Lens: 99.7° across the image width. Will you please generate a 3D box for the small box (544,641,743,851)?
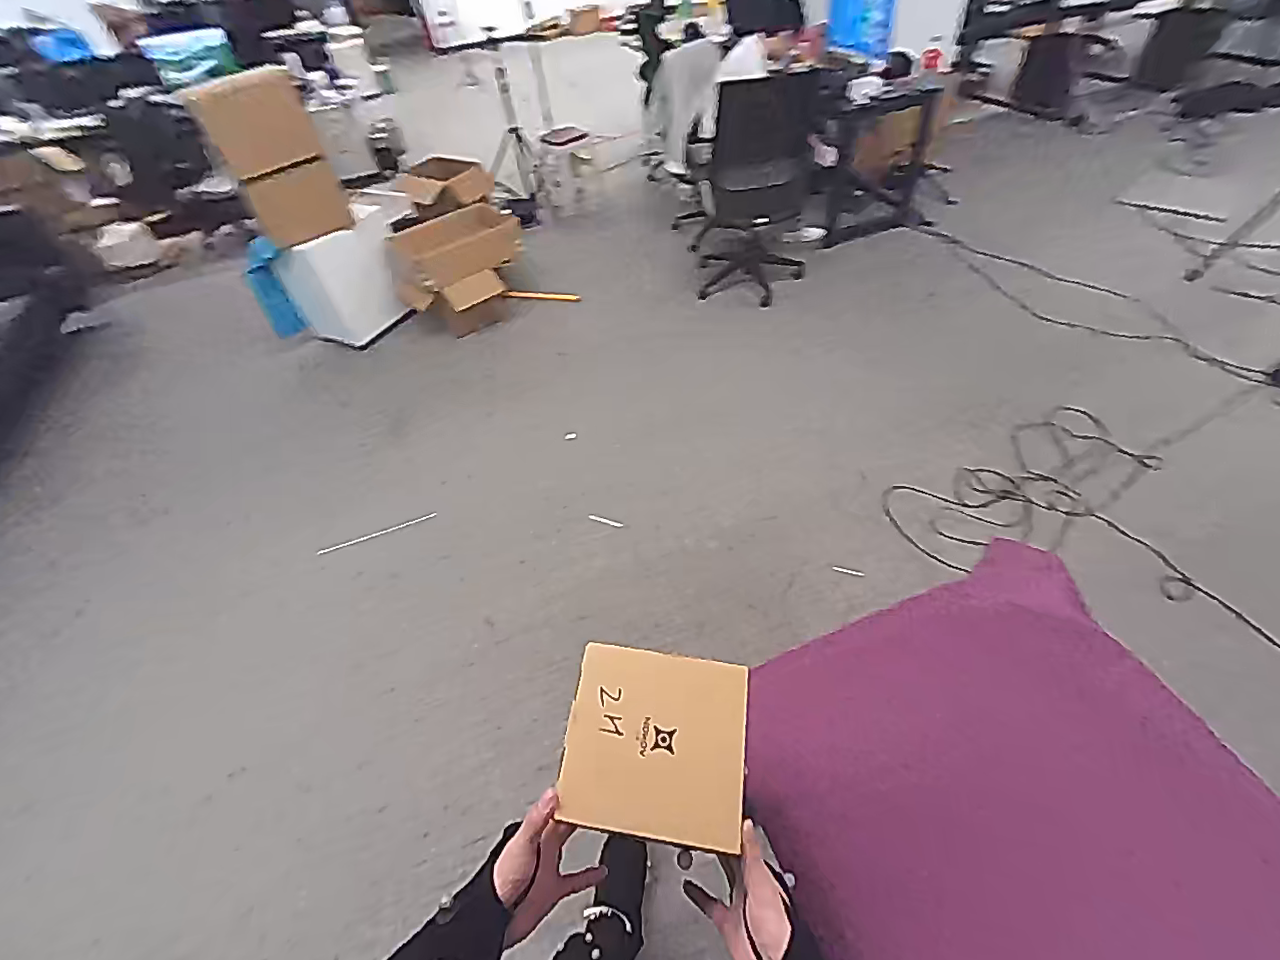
[{"bbox_3d":[0.011,0.296,0.598,0.179,0.176,0.168,6,55,6],"label":"small box"}]
